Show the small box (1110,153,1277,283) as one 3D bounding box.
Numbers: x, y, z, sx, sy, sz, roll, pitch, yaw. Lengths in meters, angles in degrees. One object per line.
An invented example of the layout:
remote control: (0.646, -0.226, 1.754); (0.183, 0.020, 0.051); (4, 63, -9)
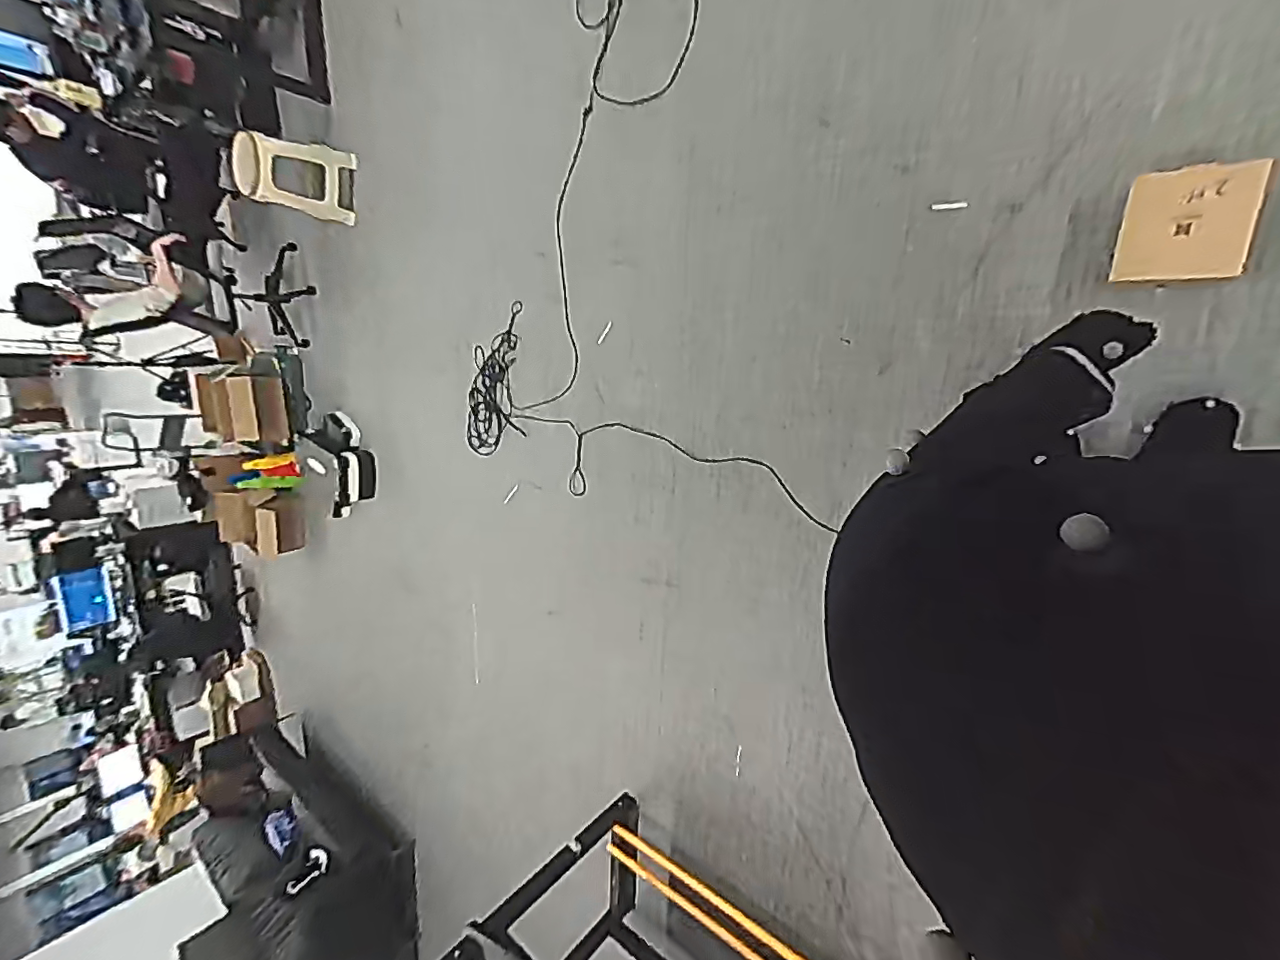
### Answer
small box: (0.953, -0.444, 0.950); (0.168, 0.176, 0.179); (13, 107, 36)
